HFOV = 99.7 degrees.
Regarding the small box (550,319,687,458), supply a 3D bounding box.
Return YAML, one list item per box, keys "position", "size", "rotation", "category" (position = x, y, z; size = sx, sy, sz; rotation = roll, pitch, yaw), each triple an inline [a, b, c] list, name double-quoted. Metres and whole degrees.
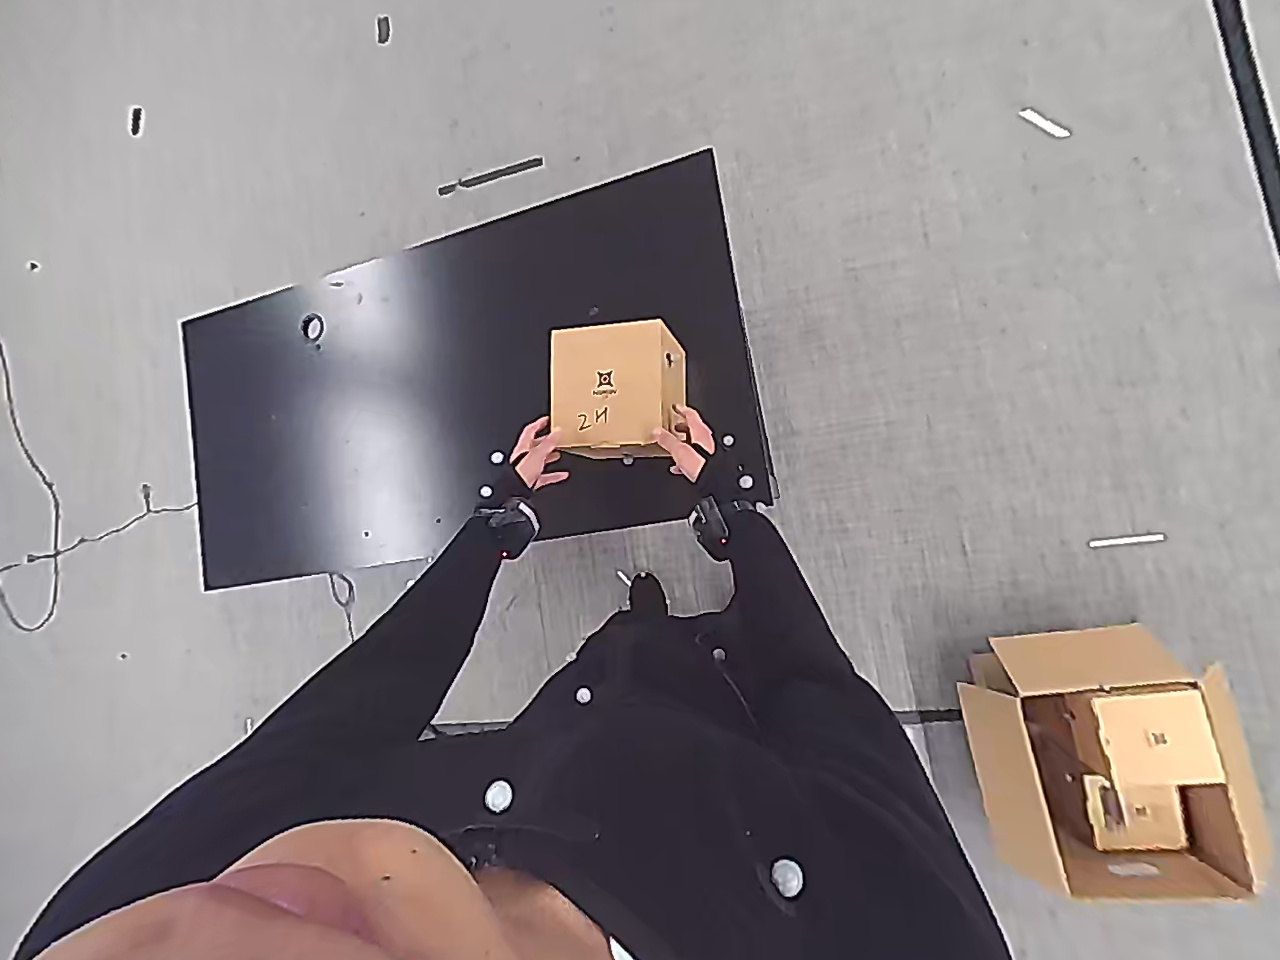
- position: [-0.026, -0.129, 0.827]
  size: [0.168, 0.176, 0.179]
  rotation: [-1, 88, 17]
  category: "small box"
